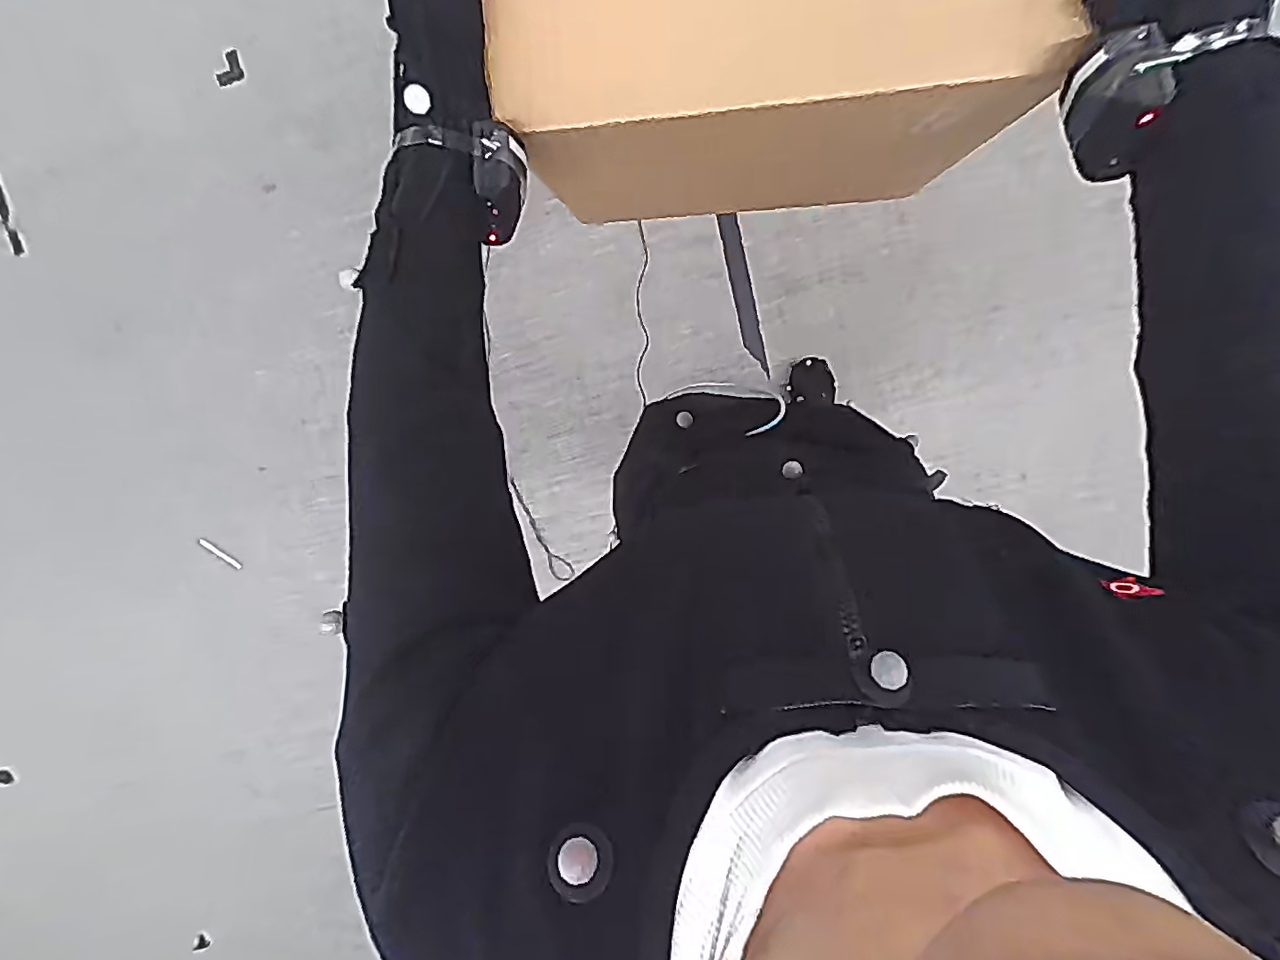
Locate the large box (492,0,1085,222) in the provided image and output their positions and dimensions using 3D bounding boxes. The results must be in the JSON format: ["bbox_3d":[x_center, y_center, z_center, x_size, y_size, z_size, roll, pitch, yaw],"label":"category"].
[{"bbox_3d":[0.096,-0.454,0.492,0.408,0.320,0.320,-3,104,6],"label":"large box"}]
